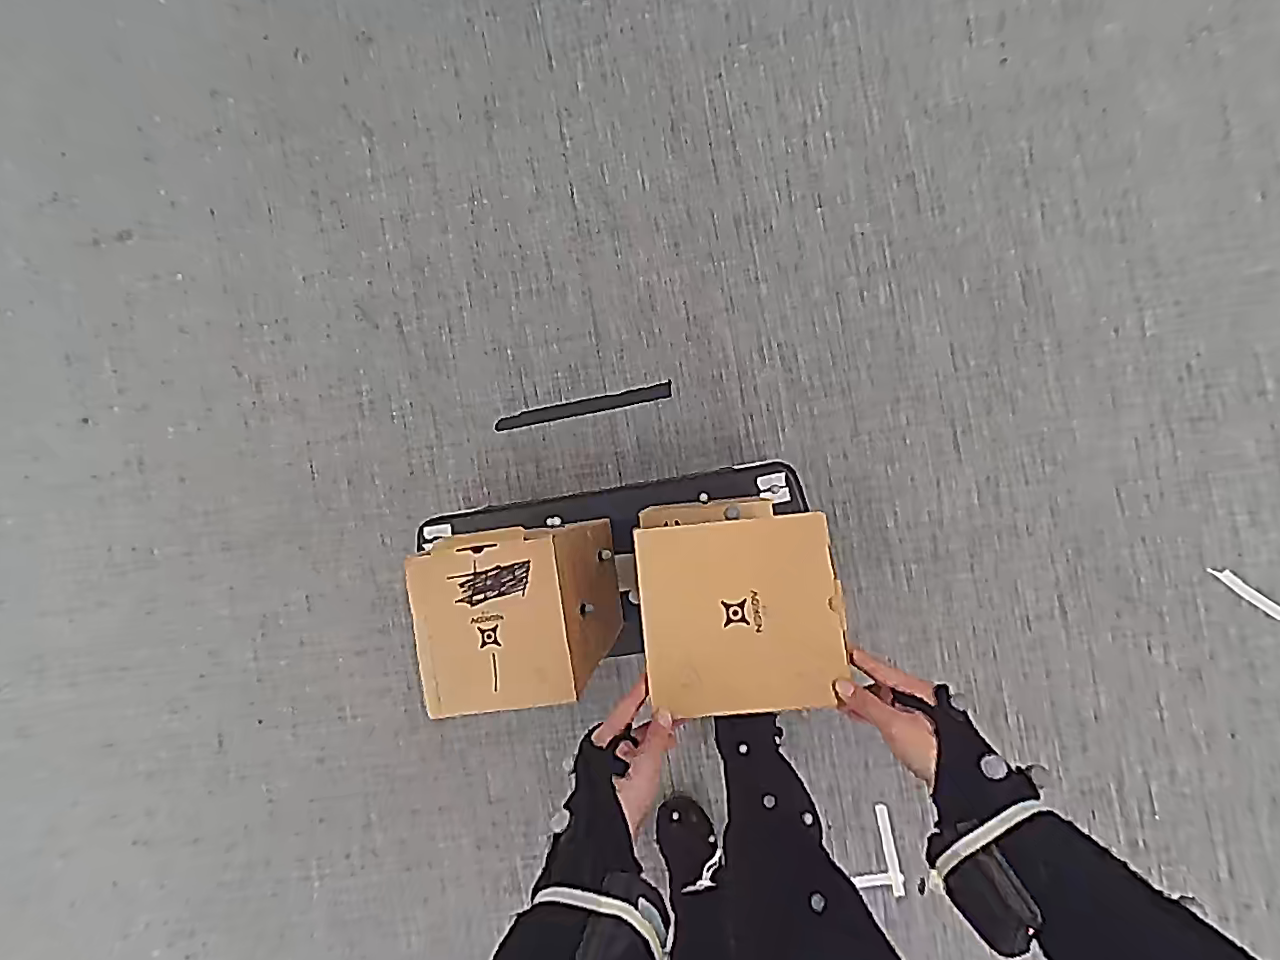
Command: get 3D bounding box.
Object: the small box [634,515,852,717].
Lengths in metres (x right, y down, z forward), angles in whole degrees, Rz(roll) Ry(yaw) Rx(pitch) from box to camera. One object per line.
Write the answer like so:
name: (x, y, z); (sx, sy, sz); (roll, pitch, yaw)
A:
small box: (0.092, 0.135, 0.554); (0.179, 0.176, 0.168); (-6, 78, 2)

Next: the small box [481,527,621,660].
small box: (-0.127, 0.165, 0.808); (0.168, 0.176, 0.179); (-8, 88, 6)

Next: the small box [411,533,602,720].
small box: (-0.147, 0.159, 0.645); (0.168, 0.176, 0.179); (-8, 88, 6)

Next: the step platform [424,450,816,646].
step platform: (-0.030, 0.137, 0.973); (0.684, 0.204, 0.286); (-10, 88, 6)
